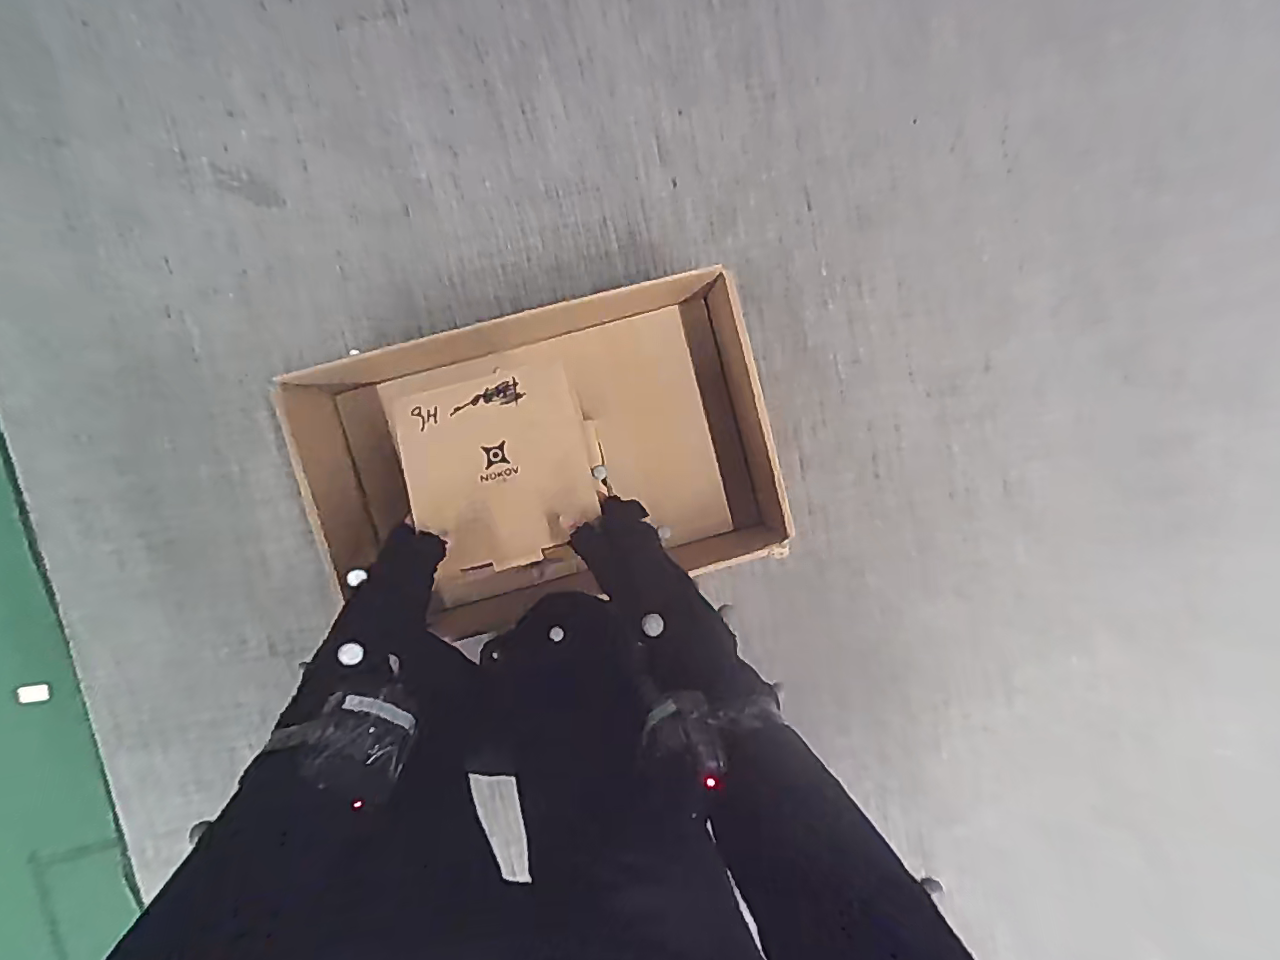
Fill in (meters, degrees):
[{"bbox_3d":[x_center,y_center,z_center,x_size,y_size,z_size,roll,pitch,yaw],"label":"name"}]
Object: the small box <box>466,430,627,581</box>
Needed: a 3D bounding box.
[{"bbox_3d":[-0.126,0.027,0.778,0.179,0.176,0.168,-15,95,-2],"label":"small box"}]
